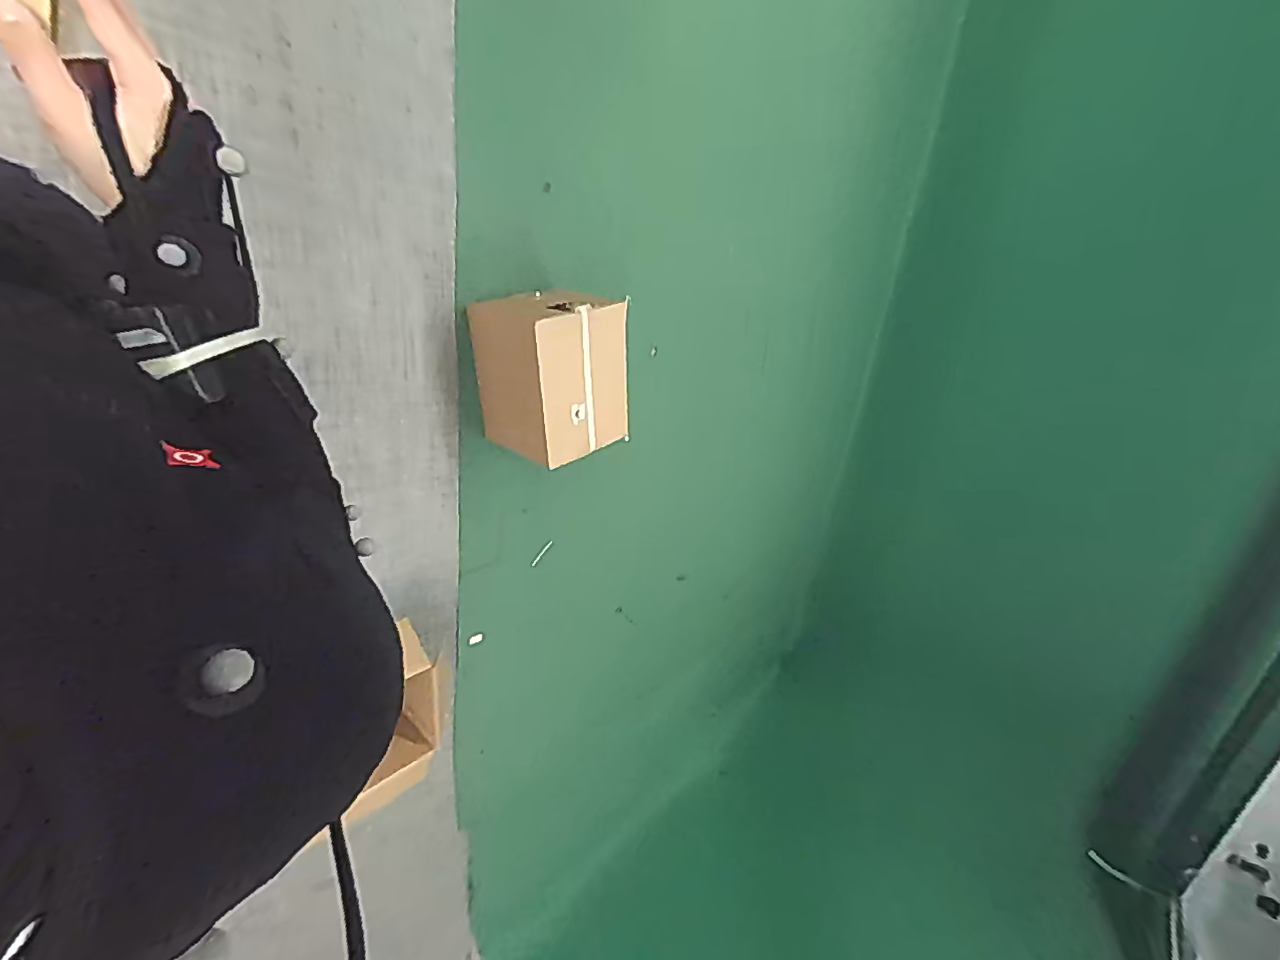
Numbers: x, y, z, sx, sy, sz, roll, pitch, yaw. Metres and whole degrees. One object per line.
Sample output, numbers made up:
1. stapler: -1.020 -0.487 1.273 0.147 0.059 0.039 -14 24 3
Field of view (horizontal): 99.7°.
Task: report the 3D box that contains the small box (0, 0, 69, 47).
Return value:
1. small box: -0.385 -0.329 0.241 0.179 0.176 0.168 2 118 -46
